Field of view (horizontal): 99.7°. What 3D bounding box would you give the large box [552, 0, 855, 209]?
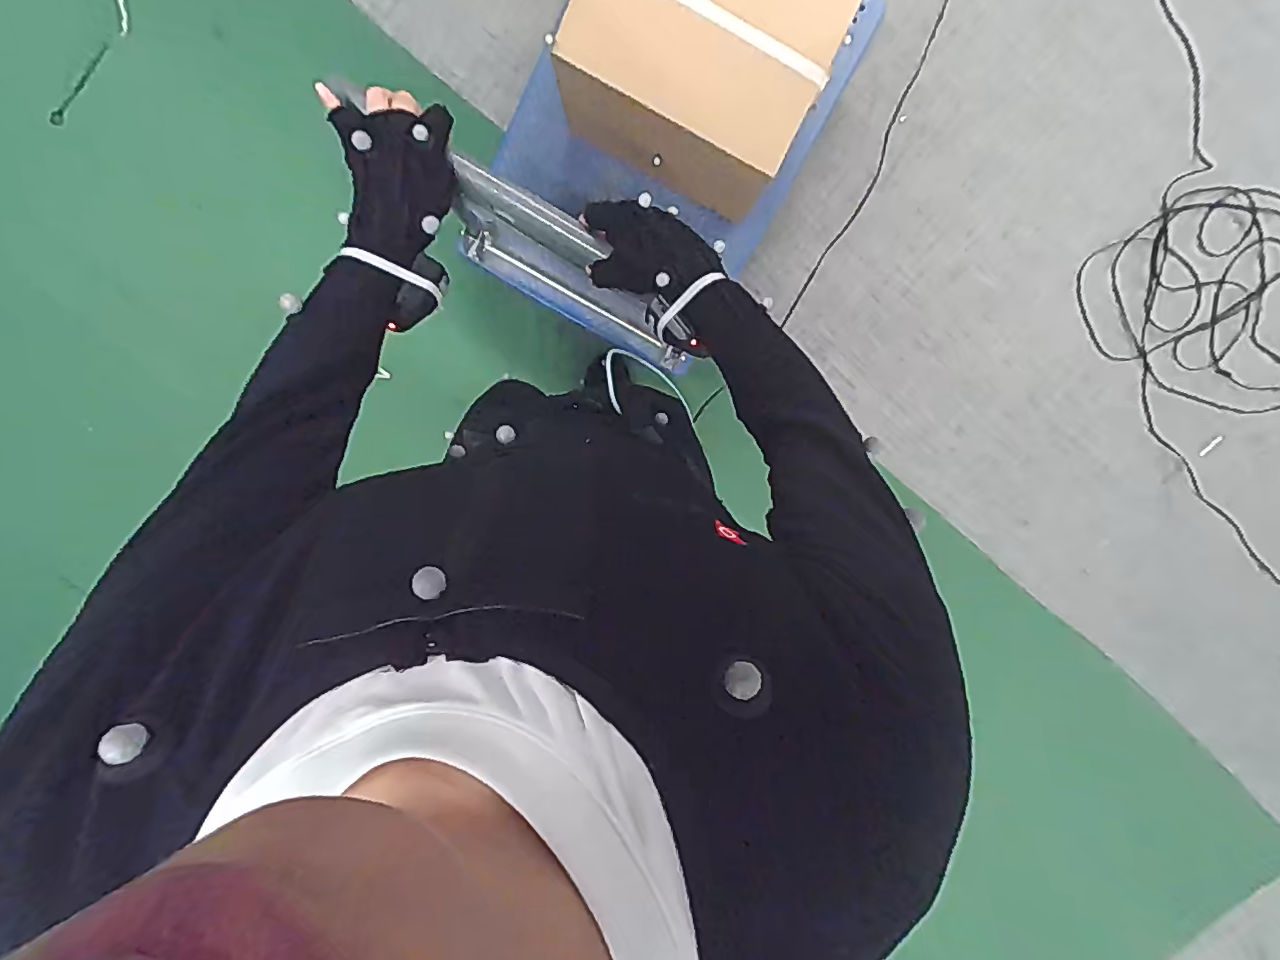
[{"bbox_3d":[0.105,-0.760,0.976,0.408,0.320,0.320,26,101,-7],"label":"large box"}]
